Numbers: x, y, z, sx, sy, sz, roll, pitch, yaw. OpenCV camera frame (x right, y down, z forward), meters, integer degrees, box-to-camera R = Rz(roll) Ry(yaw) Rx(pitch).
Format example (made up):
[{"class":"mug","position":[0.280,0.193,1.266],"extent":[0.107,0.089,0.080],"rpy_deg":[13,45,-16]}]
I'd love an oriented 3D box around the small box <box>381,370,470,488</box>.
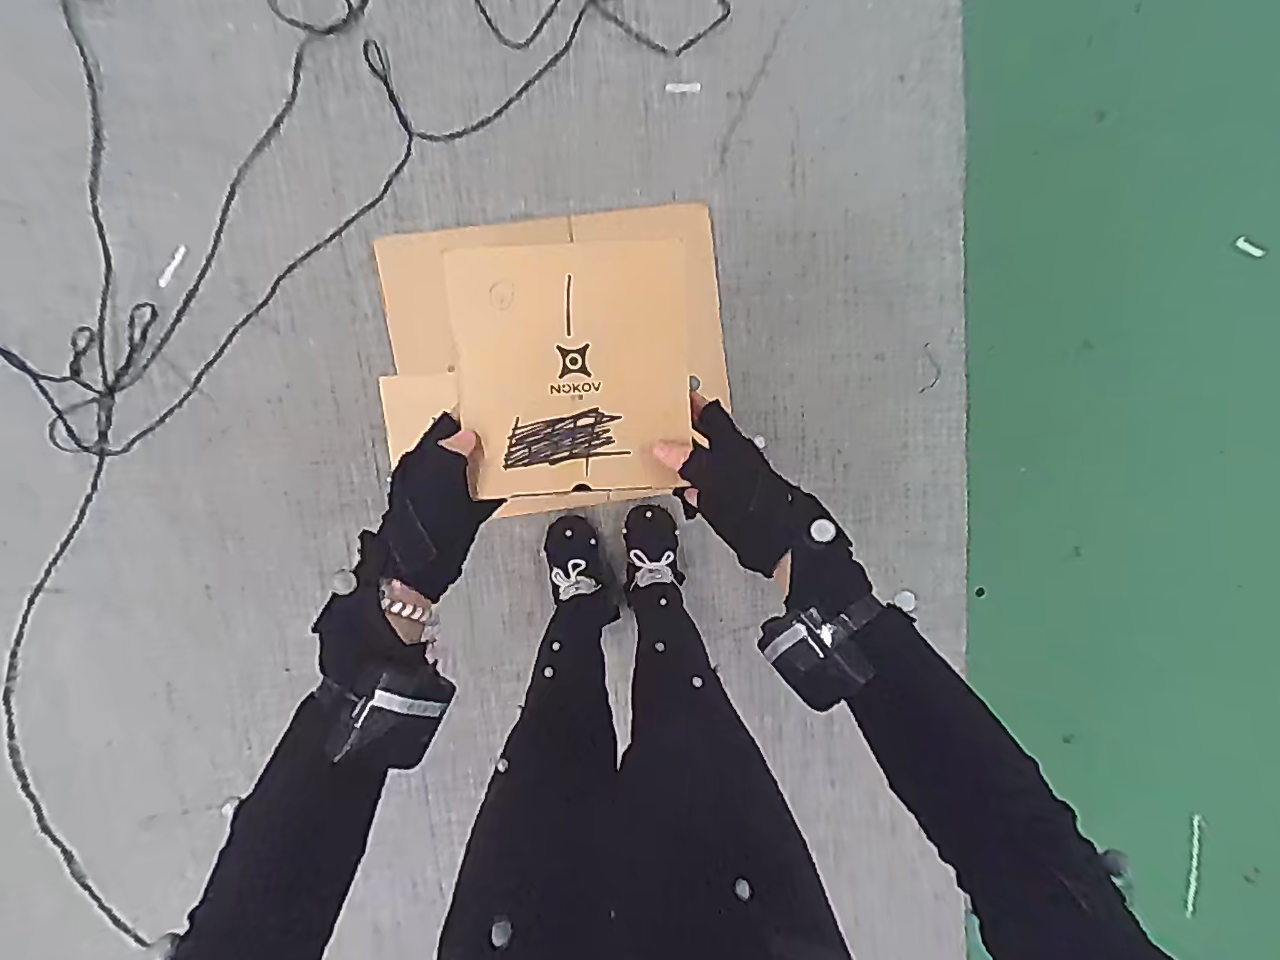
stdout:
[{"class":"small box","position":[-0.313,-0.089,0.913],"extent":[0.168,0.176,0.179],"rpy_deg":[-5,98,-3]}]

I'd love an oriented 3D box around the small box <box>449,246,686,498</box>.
[{"class":"small box","position":[-0.052,-0.089,0.471],"extent":[0.168,0.176,0.179],"rpy_deg":[-3,99,-3]}]
